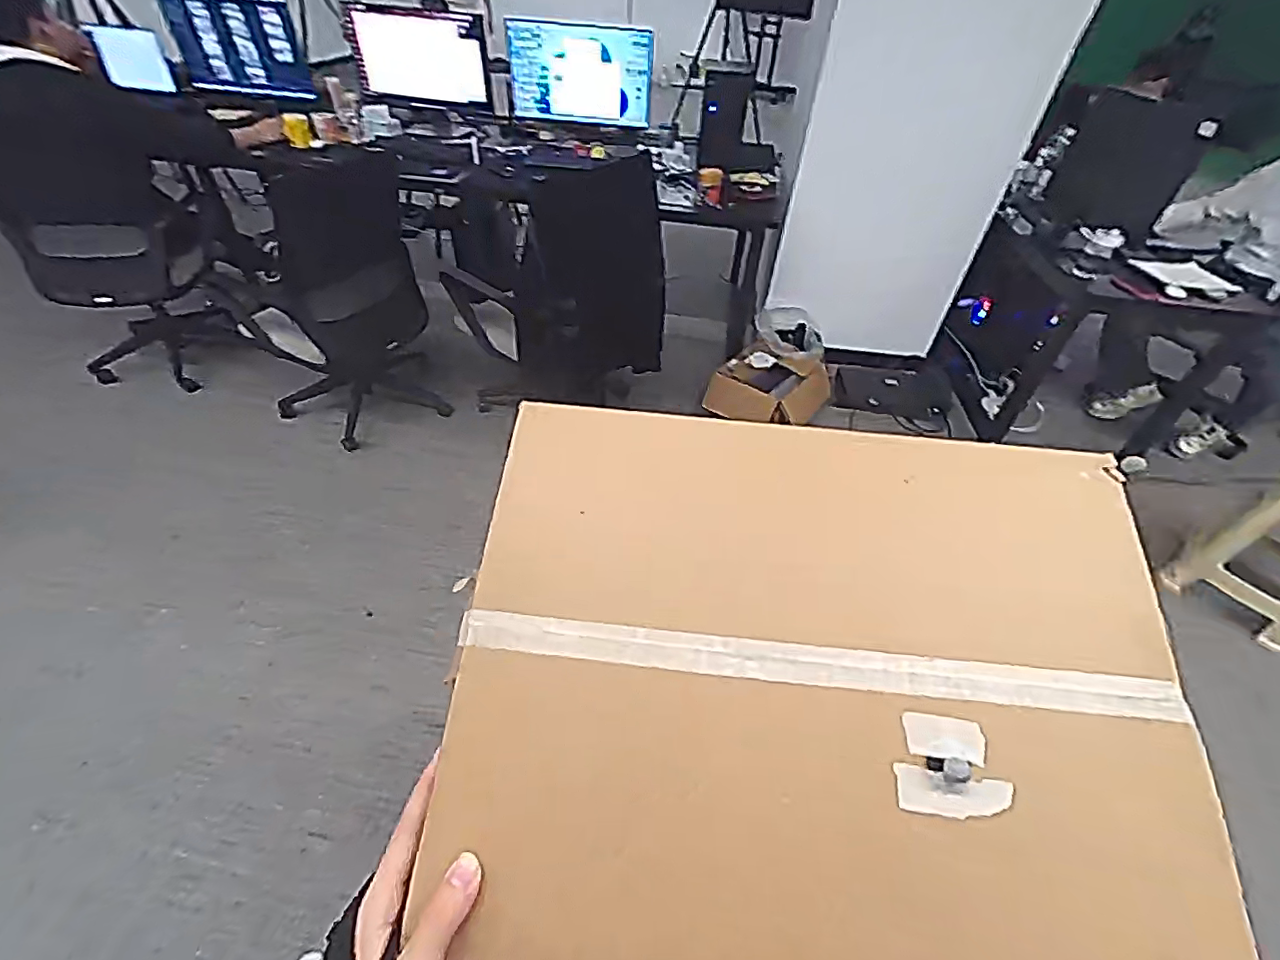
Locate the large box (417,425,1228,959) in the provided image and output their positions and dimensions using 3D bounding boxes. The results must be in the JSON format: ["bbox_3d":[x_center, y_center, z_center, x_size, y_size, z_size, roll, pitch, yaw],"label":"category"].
[{"bbox_3d":[0.095,0.174,0.452,0.408,0.320,0.320,5,66,2],"label":"large box"}]
